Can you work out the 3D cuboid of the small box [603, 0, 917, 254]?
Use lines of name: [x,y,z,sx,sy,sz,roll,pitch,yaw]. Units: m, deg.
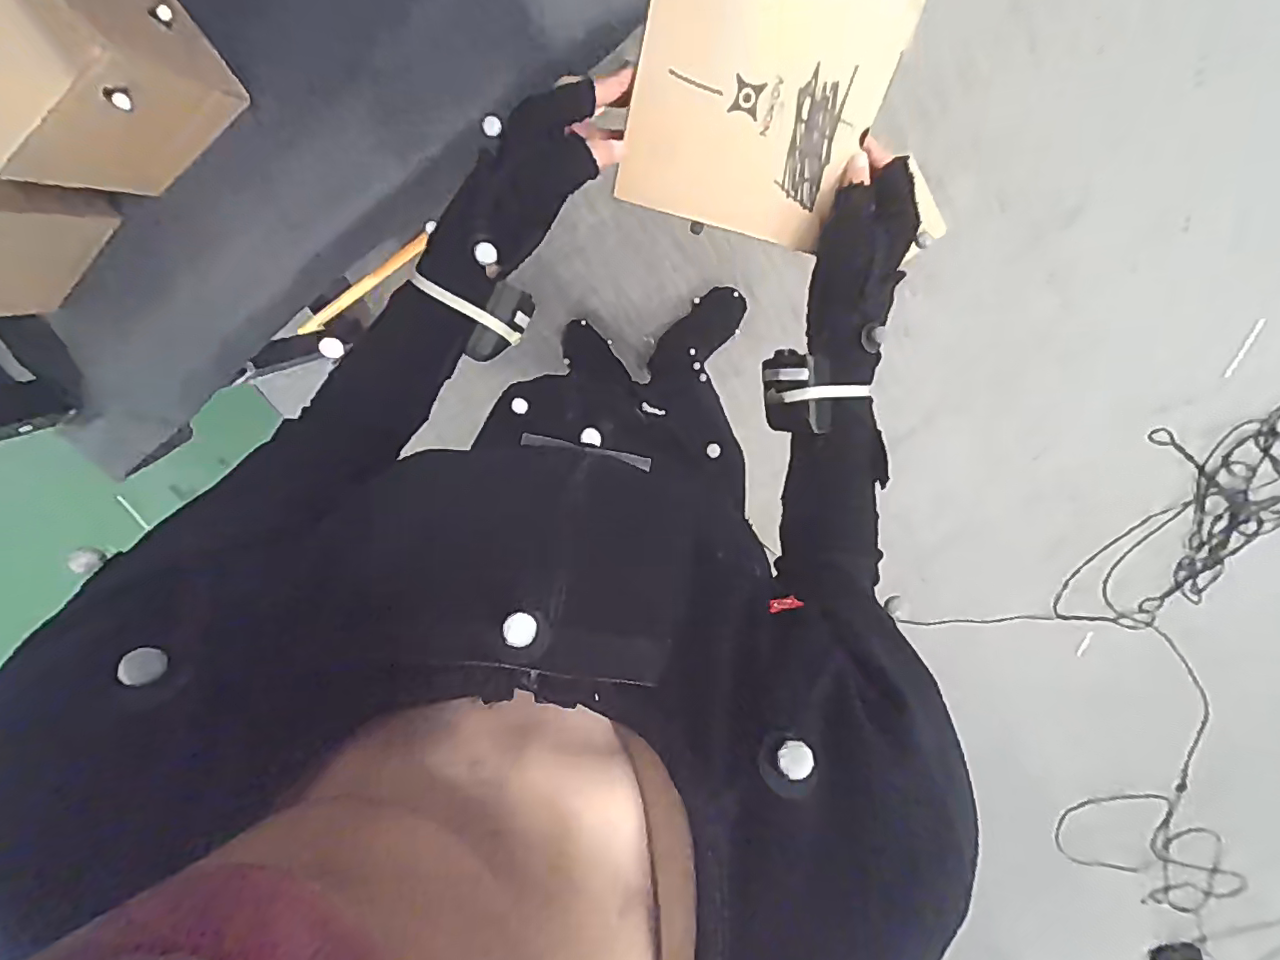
small box: [0.074,-0.304,0.441,0.179,0.176,0.168,12,121,-8]
